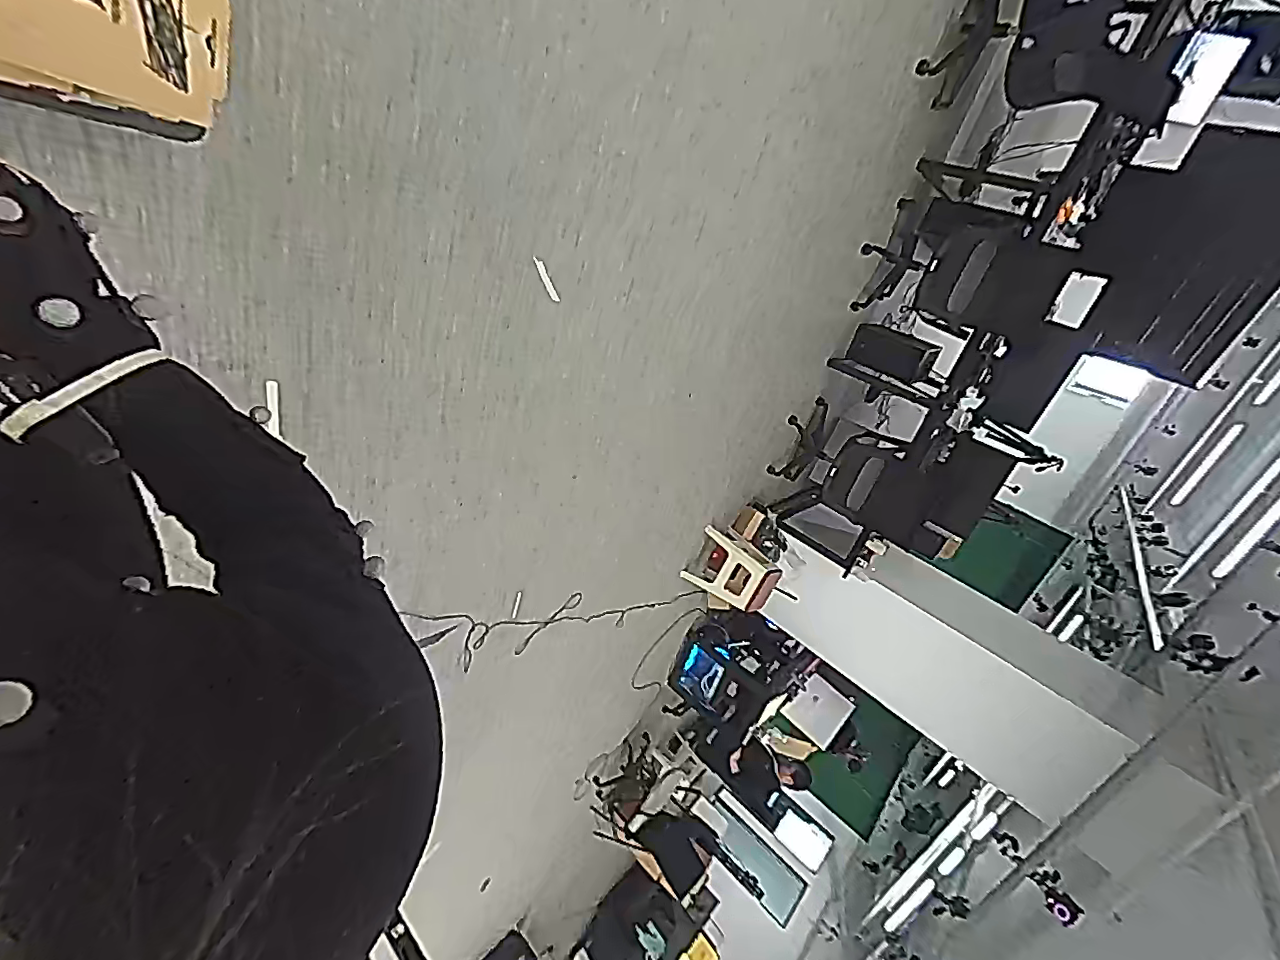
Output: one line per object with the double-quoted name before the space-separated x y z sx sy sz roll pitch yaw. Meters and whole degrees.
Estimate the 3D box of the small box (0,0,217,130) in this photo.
"small box" -0.564 -0.492 0.549 0.179 0.176 0.168 -9 126 -51
